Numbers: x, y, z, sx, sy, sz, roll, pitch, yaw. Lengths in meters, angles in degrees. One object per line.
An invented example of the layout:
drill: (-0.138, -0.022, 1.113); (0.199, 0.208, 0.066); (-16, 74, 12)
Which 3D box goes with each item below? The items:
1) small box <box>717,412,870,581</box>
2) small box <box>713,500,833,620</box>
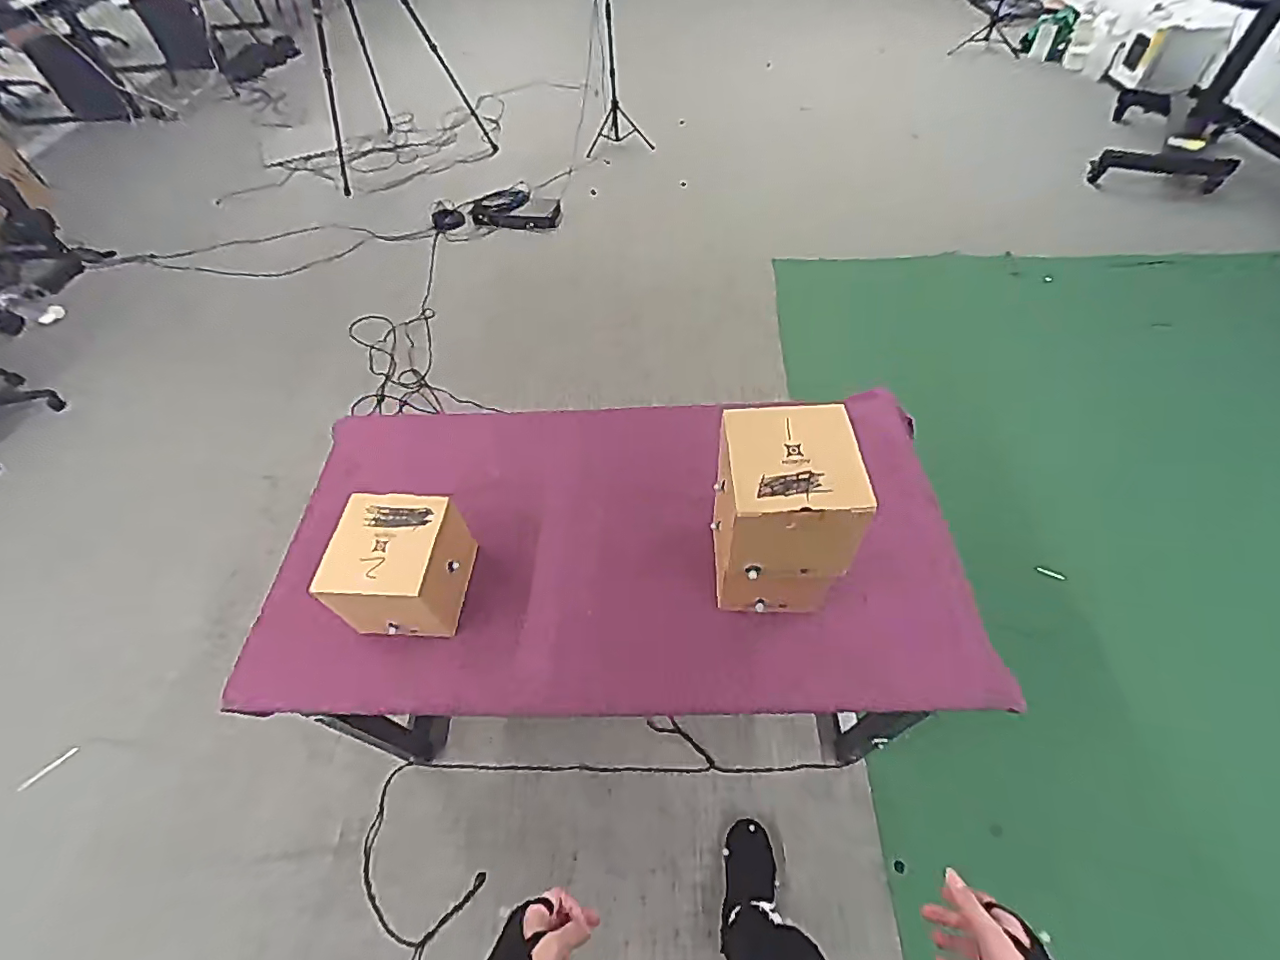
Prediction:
small box: (0.195, 0.029, 0.744); (0.168, 0.176, 0.179); (-2, 51, 4)
small box: (0.207, 0.112, 0.886); (0.168, 0.176, 0.179); (0, 53, 5)
